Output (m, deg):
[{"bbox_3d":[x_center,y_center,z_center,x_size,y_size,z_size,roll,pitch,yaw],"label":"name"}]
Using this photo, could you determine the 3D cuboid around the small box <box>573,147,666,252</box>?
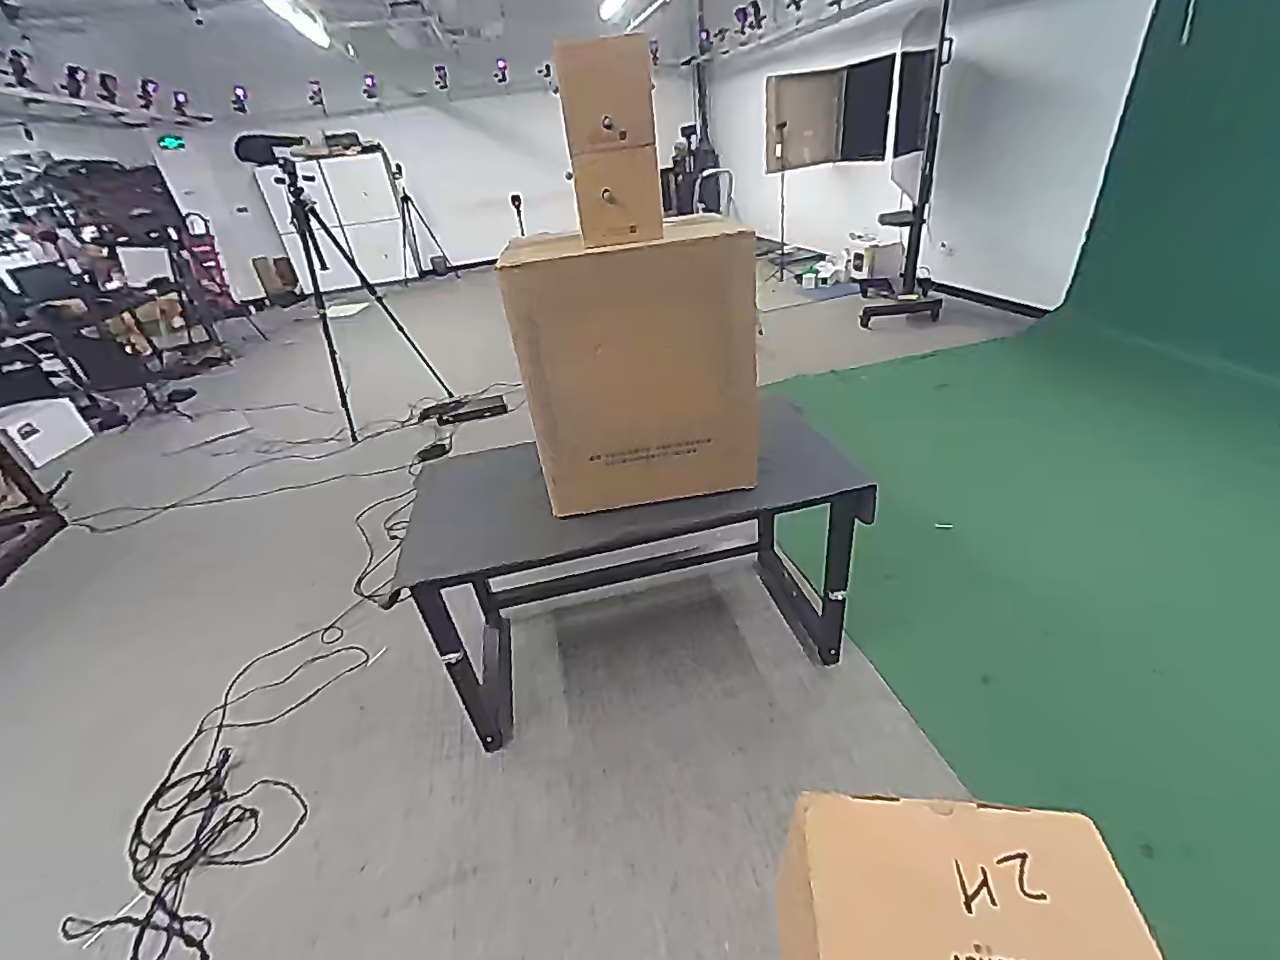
[{"bbox_3d":[-0.042,-0.580,1.124,0.168,0.176,0.179,-8,33,-1],"label":"small box"}]

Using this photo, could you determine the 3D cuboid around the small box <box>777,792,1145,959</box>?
[{"bbox_3d":[0.174,0.316,0.312,0.168,0.176,0.179,2,37,7],"label":"small box"}]
